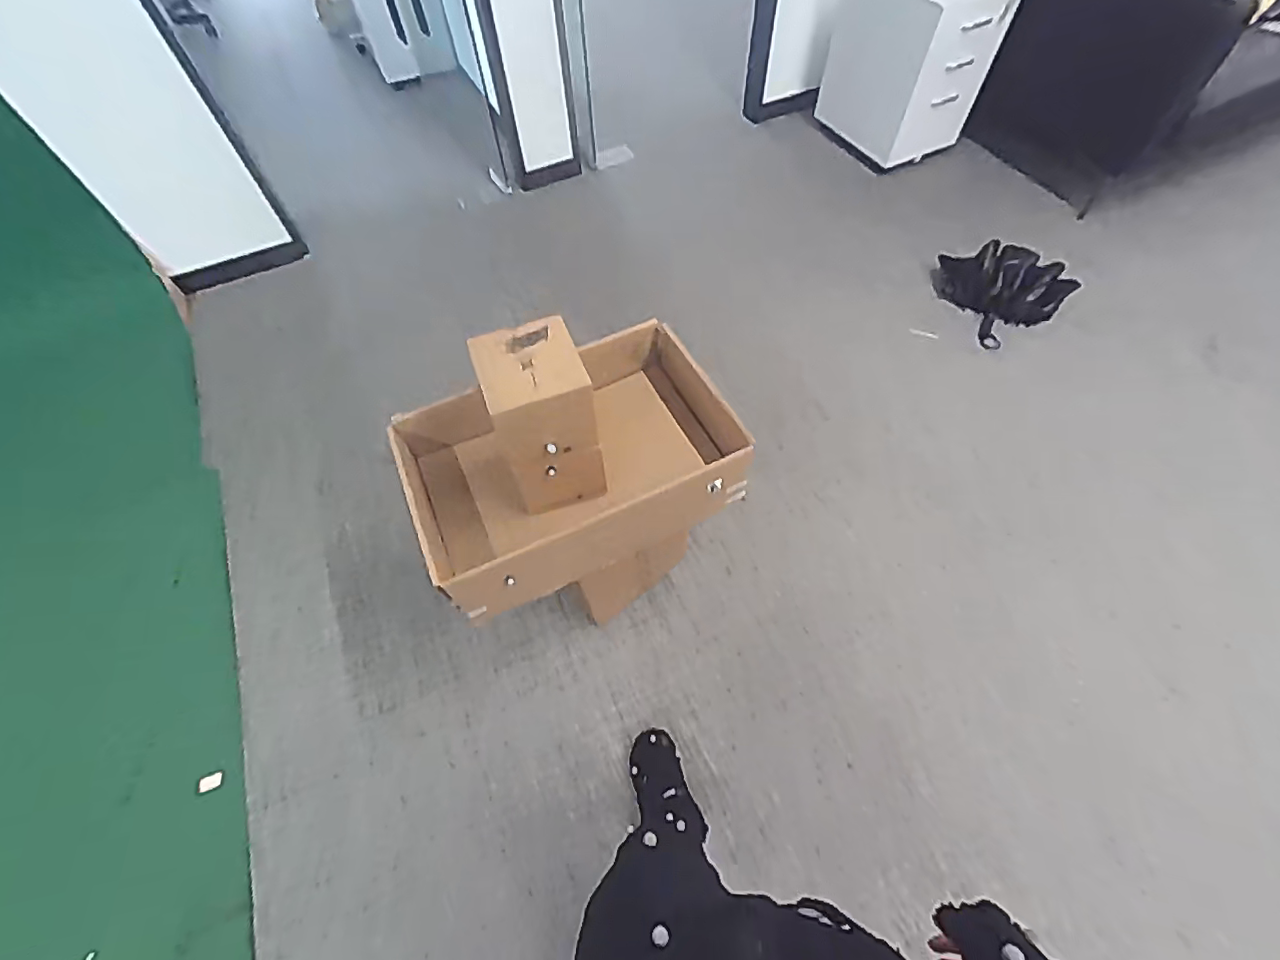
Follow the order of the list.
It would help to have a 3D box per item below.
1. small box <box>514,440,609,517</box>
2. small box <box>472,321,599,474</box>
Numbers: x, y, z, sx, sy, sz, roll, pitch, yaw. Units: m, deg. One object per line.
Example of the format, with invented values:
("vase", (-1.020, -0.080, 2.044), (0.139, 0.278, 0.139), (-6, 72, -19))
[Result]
("small box", (-0.168, -0.055, 1.083), (0.168, 0.176, 0.179), (-17, 58, -8))
("small box", (-0.177, -0.140, 0.943), (0.168, 0.176, 0.179), (-19, 60, -10))
